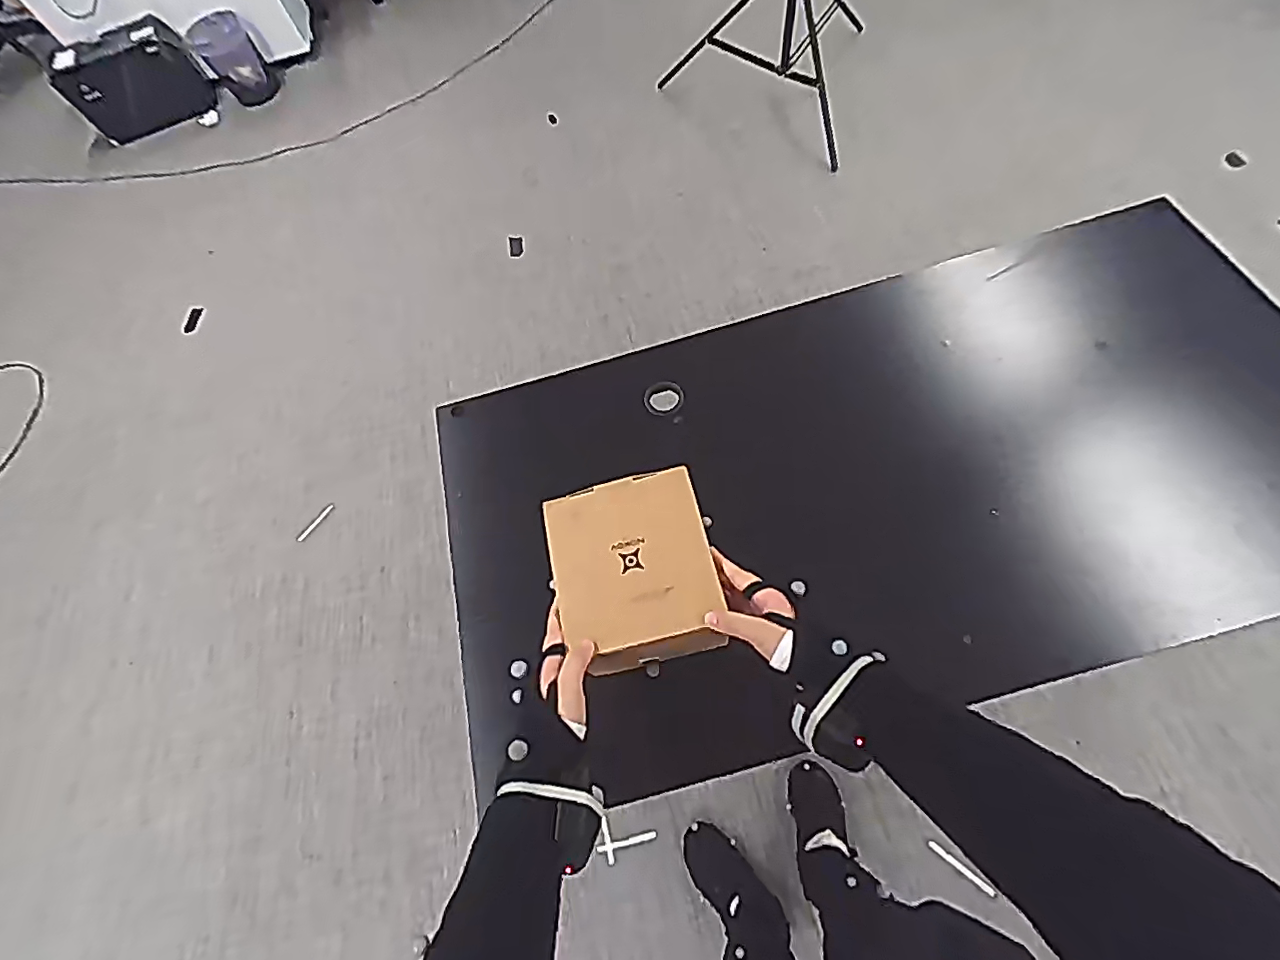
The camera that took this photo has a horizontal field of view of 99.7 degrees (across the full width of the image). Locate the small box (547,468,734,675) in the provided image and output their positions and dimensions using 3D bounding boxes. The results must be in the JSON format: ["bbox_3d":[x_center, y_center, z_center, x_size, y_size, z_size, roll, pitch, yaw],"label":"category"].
[{"bbox_3d":[0.003,0.114,0.627,0.168,0.176,0.179,-15,65,2],"label":"small box"}]
